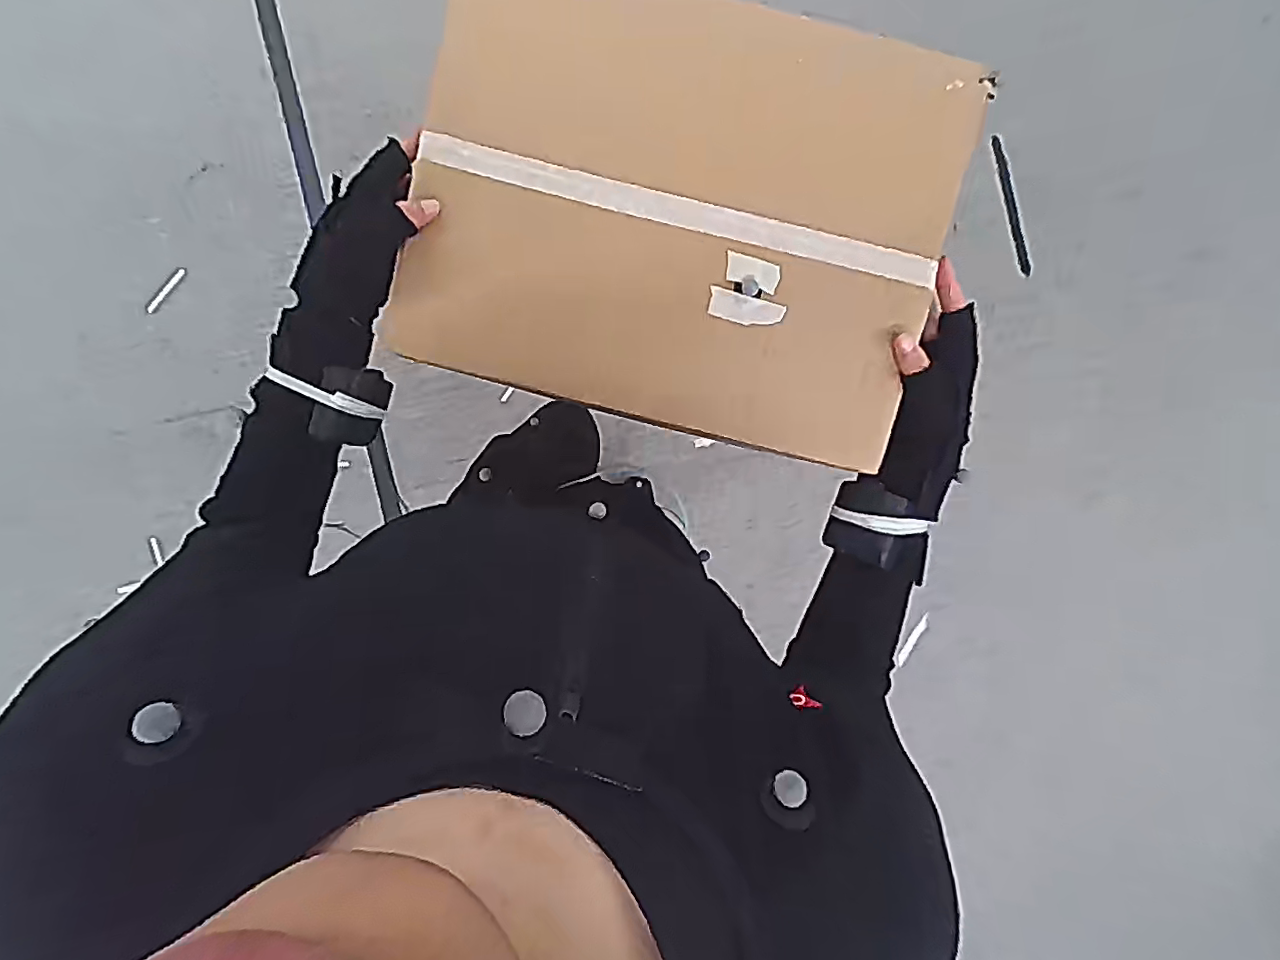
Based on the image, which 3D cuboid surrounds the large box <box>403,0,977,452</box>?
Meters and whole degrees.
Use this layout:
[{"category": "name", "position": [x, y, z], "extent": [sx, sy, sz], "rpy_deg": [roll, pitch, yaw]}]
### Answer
[{"category": "large box", "position": [0.033, -0.229, 0.573], "extent": [0.408, 0.320, 0.320], "rpy_deg": [14, 97, -1]}]
